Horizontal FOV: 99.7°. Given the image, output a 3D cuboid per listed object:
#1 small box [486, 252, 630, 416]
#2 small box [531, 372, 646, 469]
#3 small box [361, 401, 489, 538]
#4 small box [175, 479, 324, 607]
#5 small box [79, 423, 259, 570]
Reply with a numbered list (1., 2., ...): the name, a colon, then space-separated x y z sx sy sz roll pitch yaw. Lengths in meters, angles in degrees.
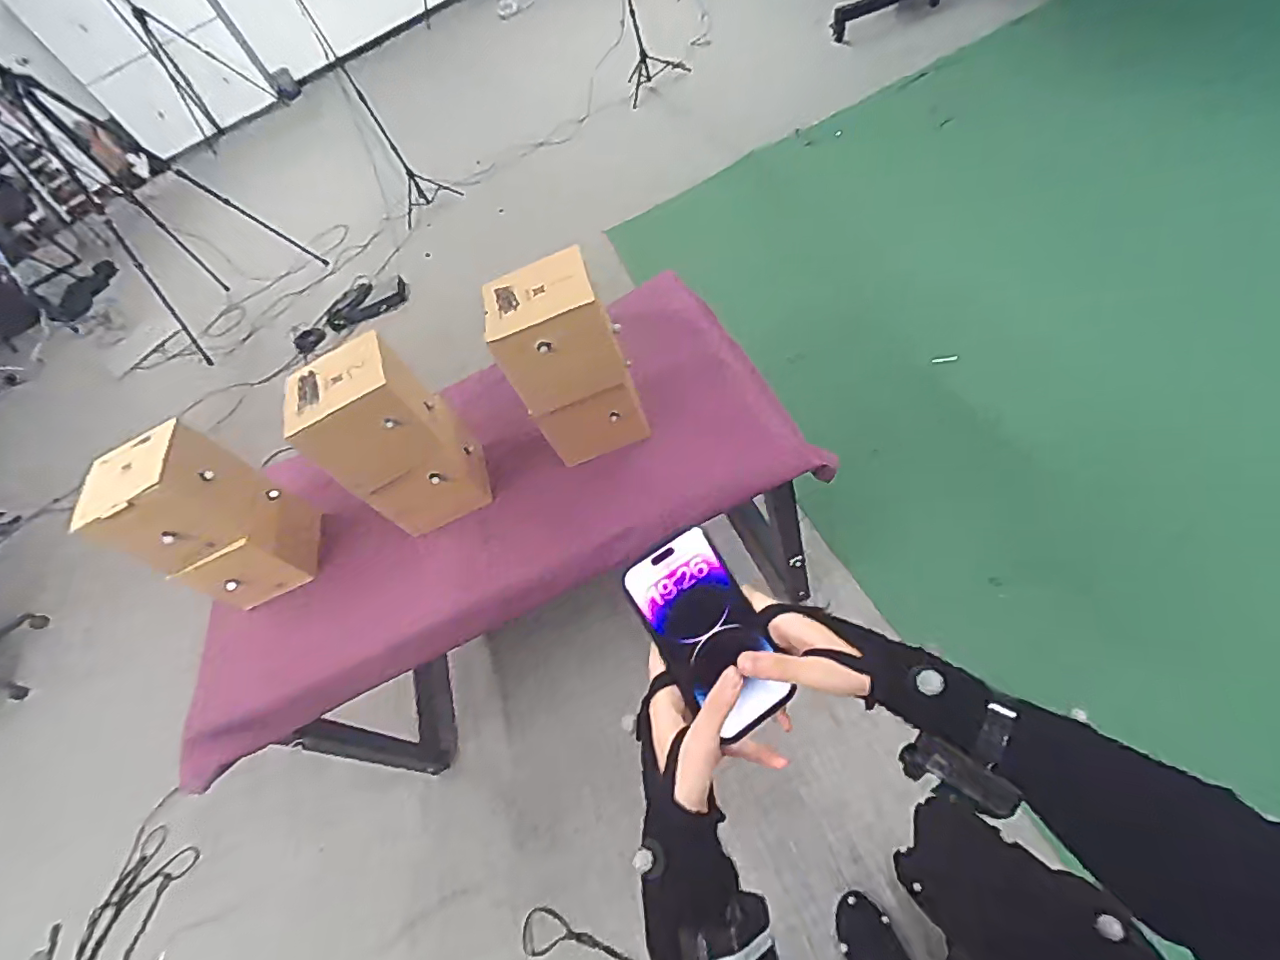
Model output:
1. small box: -0.135 -0.234 0.895 0.179 0.176 0.168 -20 51 6
2. small box: -0.098 -0.150 1.032 0.179 0.176 0.168 -21 51 7
3. small box: -0.410 -0.016 1.055 0.179 0.176 0.168 -25 51 3
4. small box: -0.769 0.136 1.088 0.168 0.176 0.179 -25 51 3
5. small box: -0.822 0.039 0.966 0.168 0.176 0.179 -28 51 -1
